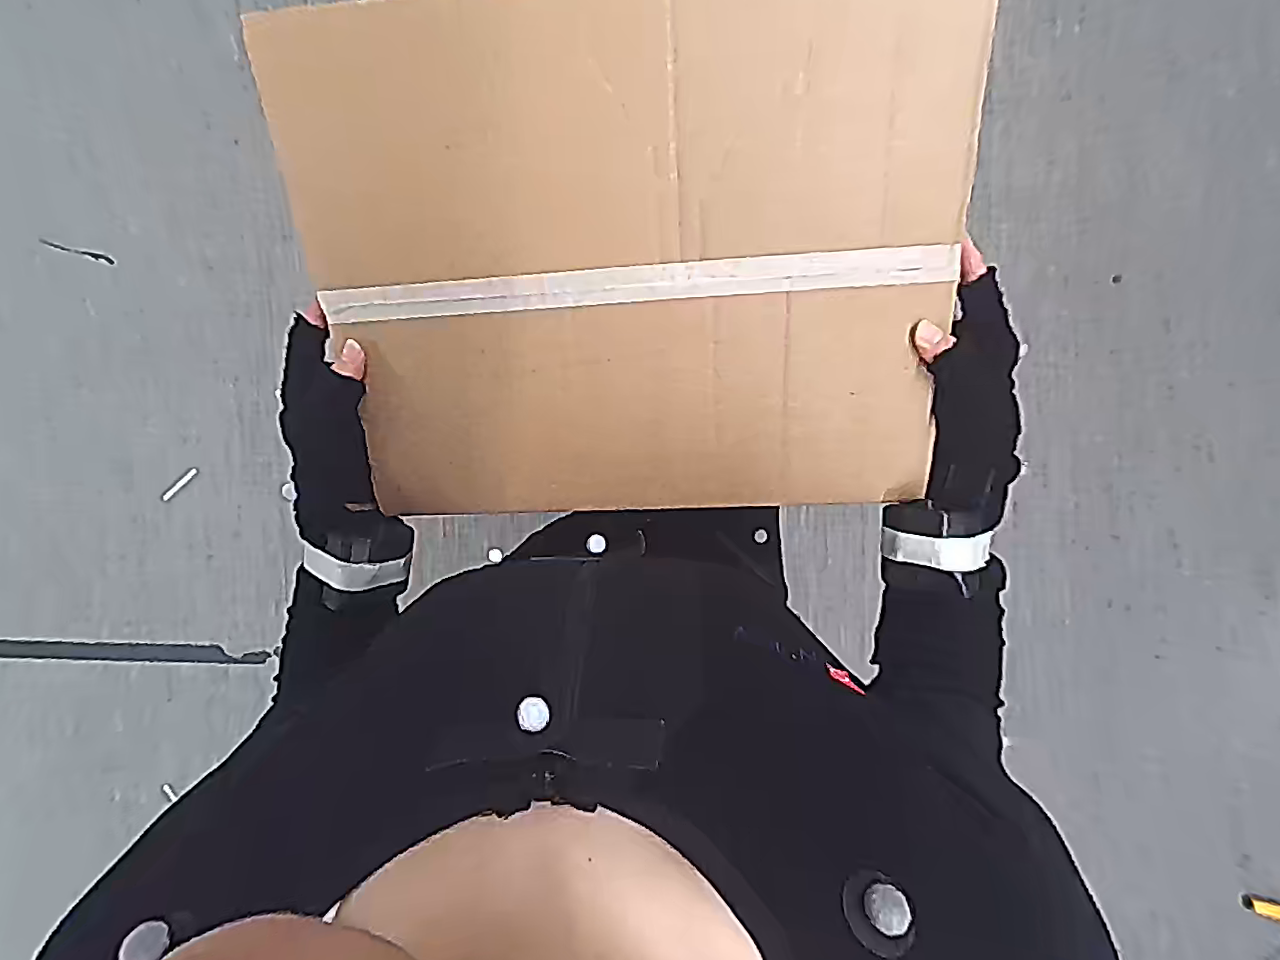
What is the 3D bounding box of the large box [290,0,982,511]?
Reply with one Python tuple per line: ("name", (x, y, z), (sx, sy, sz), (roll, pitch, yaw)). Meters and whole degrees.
("large box", (0.006, -0.182, 0.496), (0.408, 0.320, 0.320), (-2, 114, 5))
